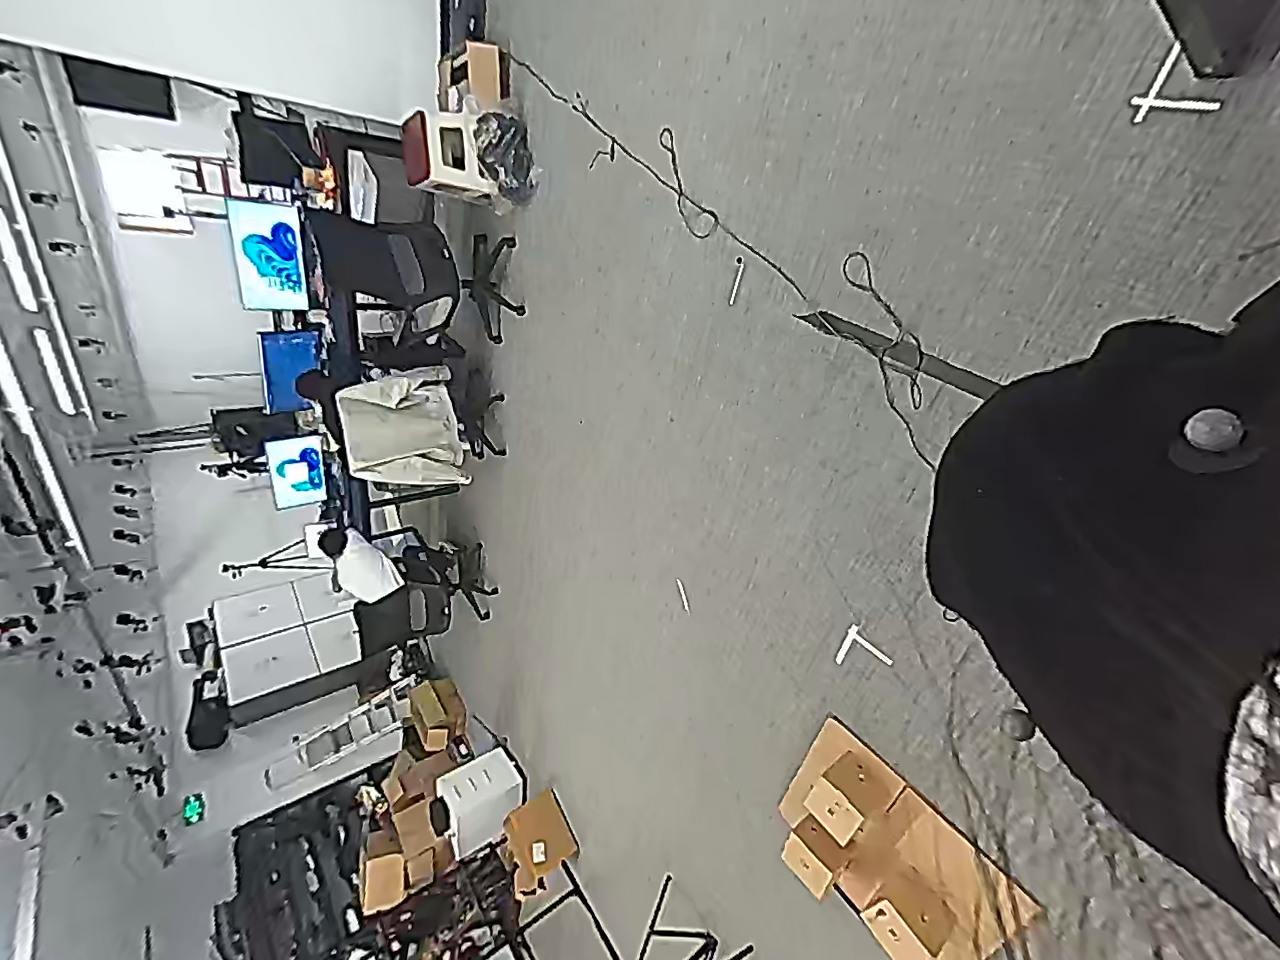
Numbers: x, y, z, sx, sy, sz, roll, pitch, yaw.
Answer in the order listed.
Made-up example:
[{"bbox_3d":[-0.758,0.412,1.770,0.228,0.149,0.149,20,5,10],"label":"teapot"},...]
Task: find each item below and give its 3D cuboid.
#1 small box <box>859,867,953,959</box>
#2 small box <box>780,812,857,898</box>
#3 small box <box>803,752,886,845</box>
[{"bbox_3d":[0.835,1.369,1.691,0.179,0.176,0.168,47,133,31],"label":"small box"},{"bbox_3d":[0.638,1.326,1.935,0.179,0.176,0.168,35,127,42],"label":"small box"},{"bbox_3d":[0.682,1.053,1.796,0.168,0.176,0.179,39,128,38],"label":"small box"}]
